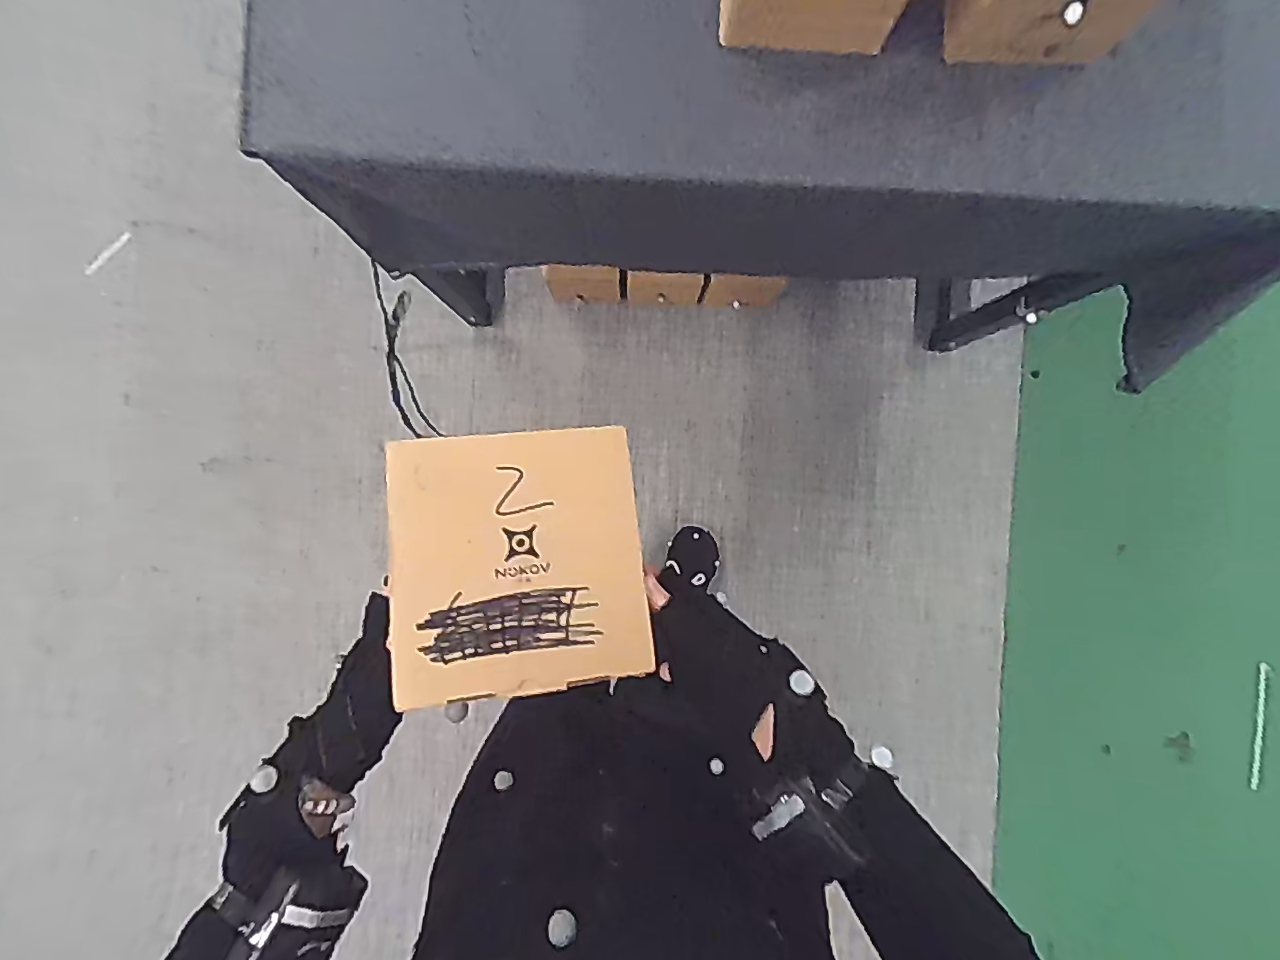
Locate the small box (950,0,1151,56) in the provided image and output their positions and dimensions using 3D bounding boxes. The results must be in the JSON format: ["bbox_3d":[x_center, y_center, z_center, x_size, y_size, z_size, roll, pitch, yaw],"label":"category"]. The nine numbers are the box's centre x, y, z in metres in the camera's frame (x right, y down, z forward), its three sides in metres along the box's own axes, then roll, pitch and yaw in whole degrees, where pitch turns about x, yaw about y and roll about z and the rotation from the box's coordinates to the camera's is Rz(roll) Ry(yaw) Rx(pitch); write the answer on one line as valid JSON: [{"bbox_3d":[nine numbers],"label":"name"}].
[{"bbox_3d":[0.418,-0.543,0.506,0.168,0.176,0.179,1,91,-2],"label":"small box"}]
